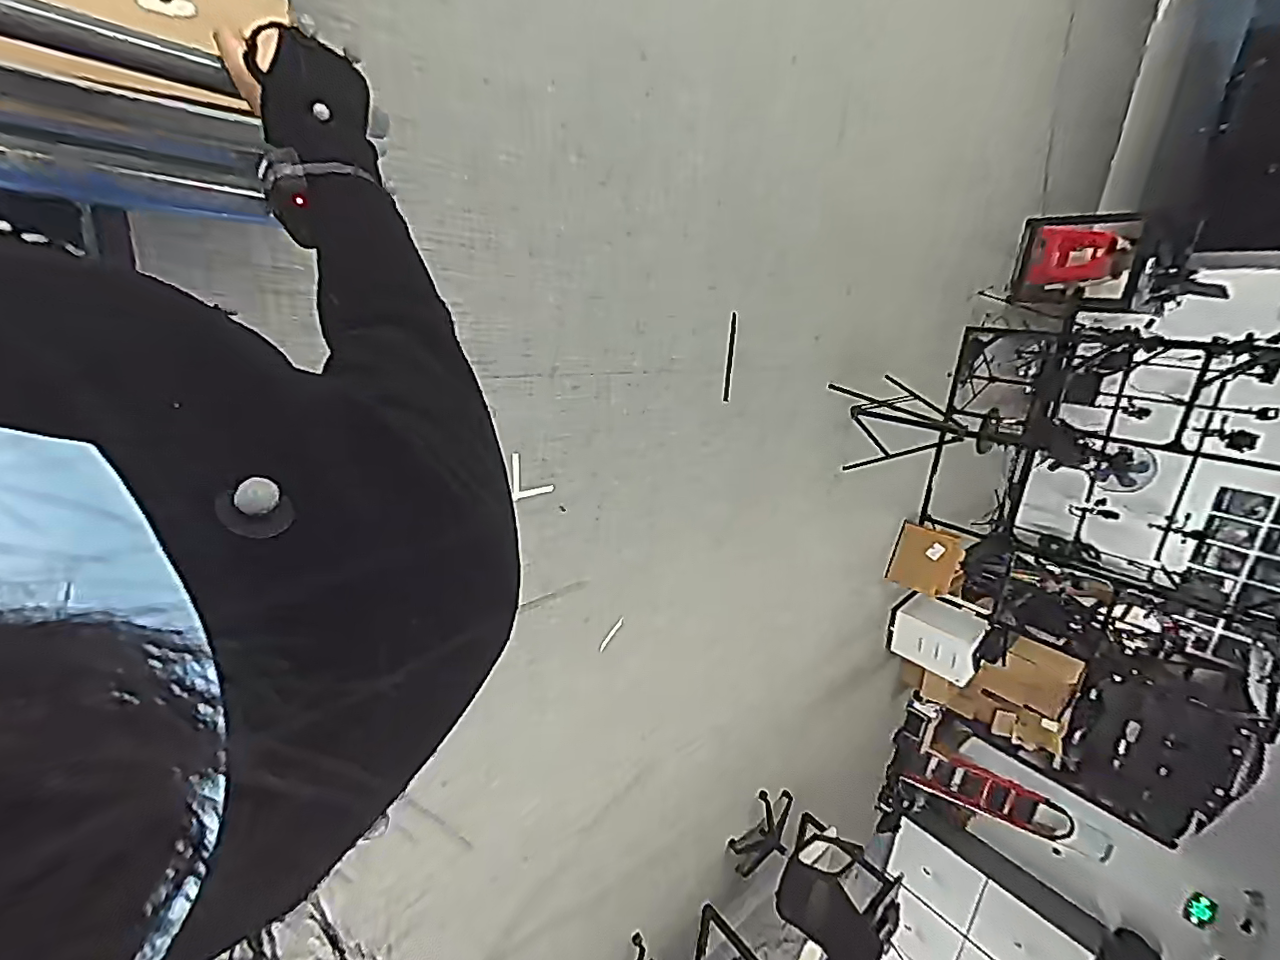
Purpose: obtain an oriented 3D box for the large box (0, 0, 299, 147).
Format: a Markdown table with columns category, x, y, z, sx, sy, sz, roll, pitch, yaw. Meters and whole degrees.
| category | x | y | z | sx | sy | sz | roll | pitch | yaw |
| --- | --- | --- | --- | --- | --- | --- | --- | --- | --- |
| large box | -0.747 | -0.678 | 0.724 | 0.408 | 0.320 | 0.320 | -15 | 117 | -40 |
